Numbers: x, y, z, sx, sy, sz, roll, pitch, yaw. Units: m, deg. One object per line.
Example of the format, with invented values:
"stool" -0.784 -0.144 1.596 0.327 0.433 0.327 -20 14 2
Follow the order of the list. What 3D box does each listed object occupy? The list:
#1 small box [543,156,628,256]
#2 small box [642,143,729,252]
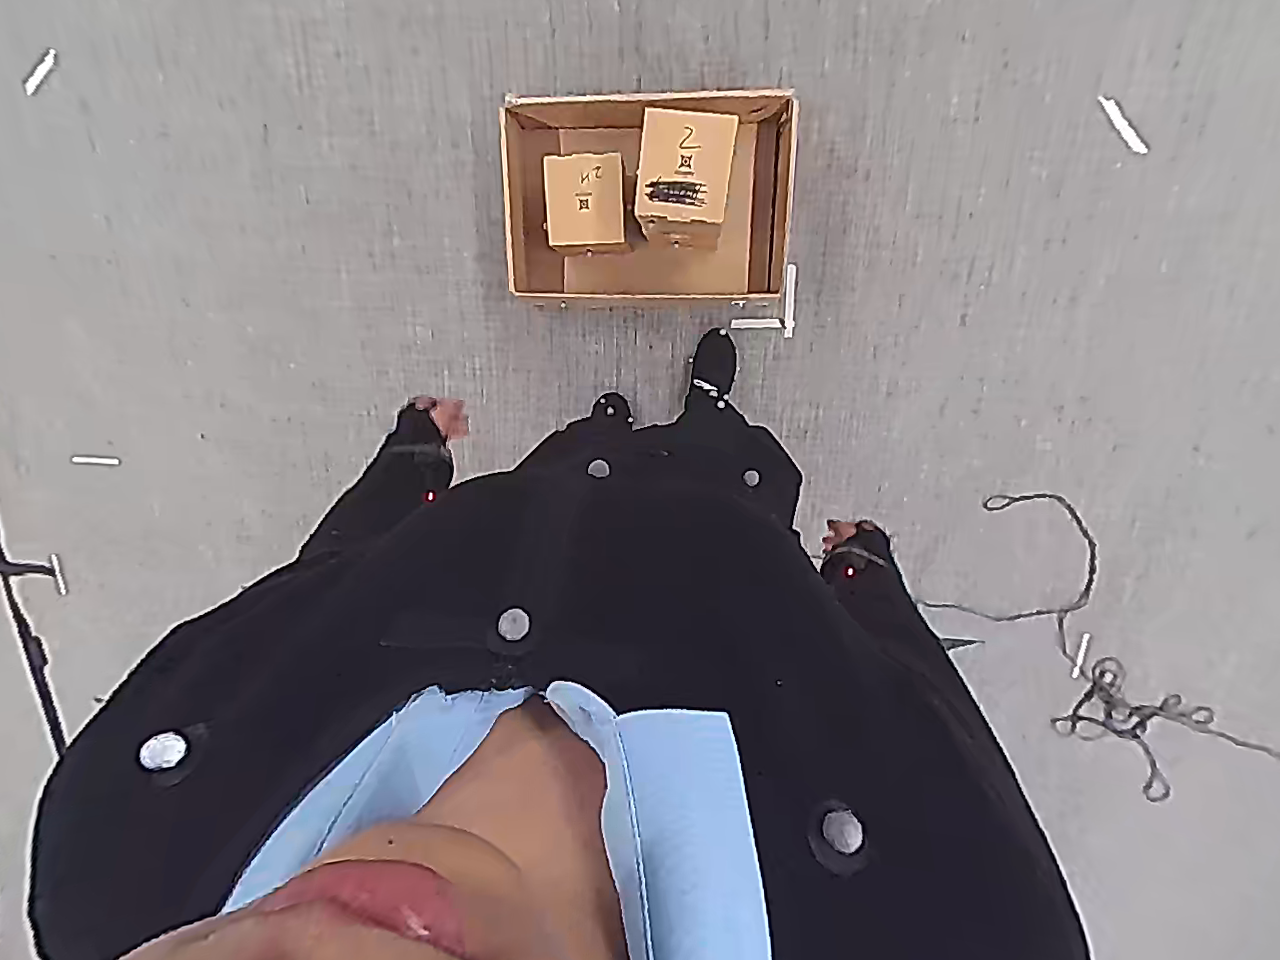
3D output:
"small box" -0.115 -0.605 1.215 0.168 0.176 0.179 0 105 3
"small box" 0.100 -0.618 1.199 0.168 0.176 0.179 7 106 5
